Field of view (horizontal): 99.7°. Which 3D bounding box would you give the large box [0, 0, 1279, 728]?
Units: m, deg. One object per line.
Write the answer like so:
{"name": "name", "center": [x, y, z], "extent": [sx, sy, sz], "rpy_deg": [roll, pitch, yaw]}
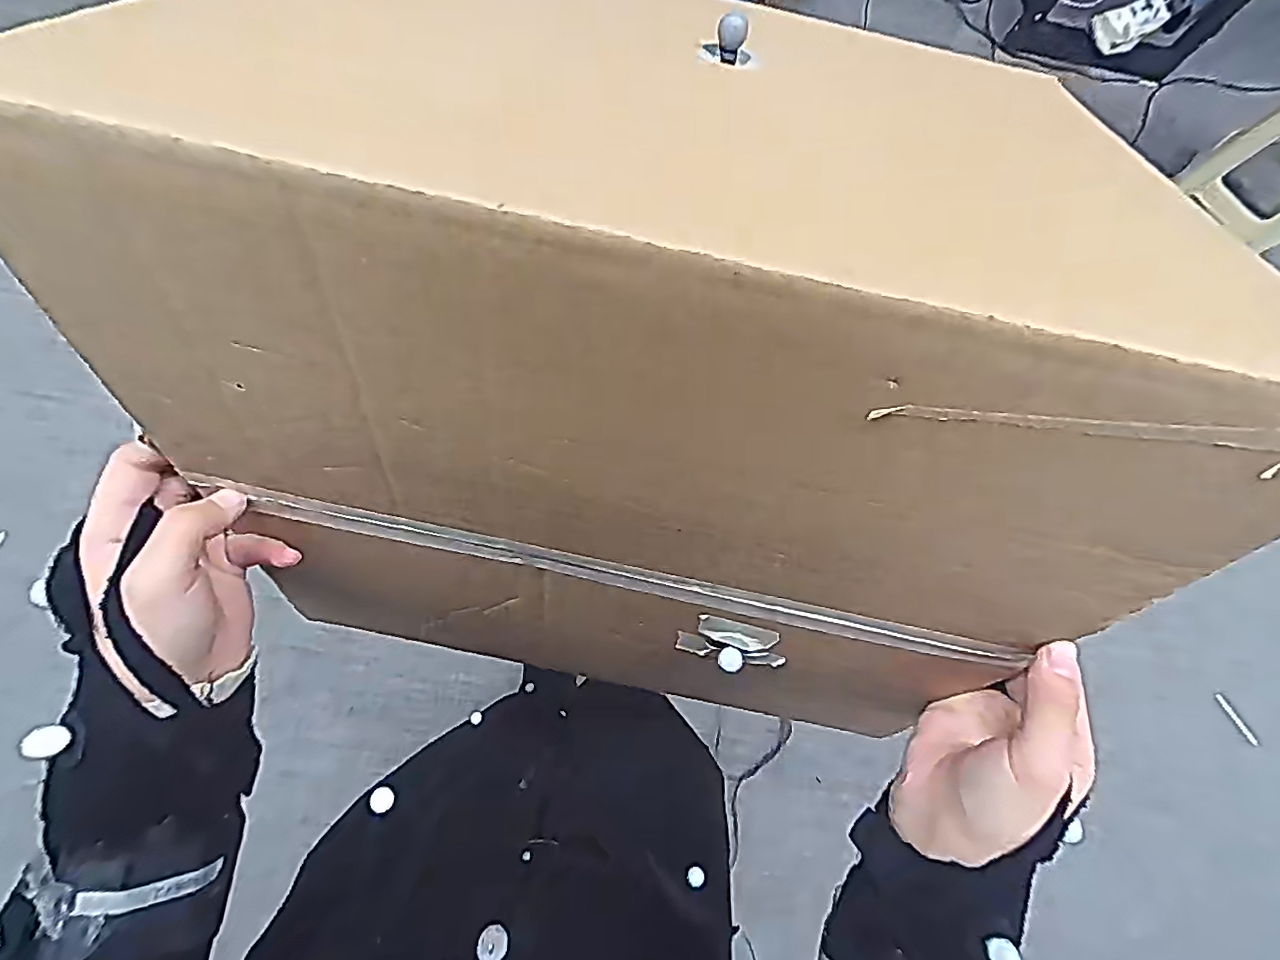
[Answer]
{"name": "large box", "center": [0.010, -0.072, 0.357], "extent": [0.408, 0.320, 0.320], "rpy_deg": [11, 51, -1]}
